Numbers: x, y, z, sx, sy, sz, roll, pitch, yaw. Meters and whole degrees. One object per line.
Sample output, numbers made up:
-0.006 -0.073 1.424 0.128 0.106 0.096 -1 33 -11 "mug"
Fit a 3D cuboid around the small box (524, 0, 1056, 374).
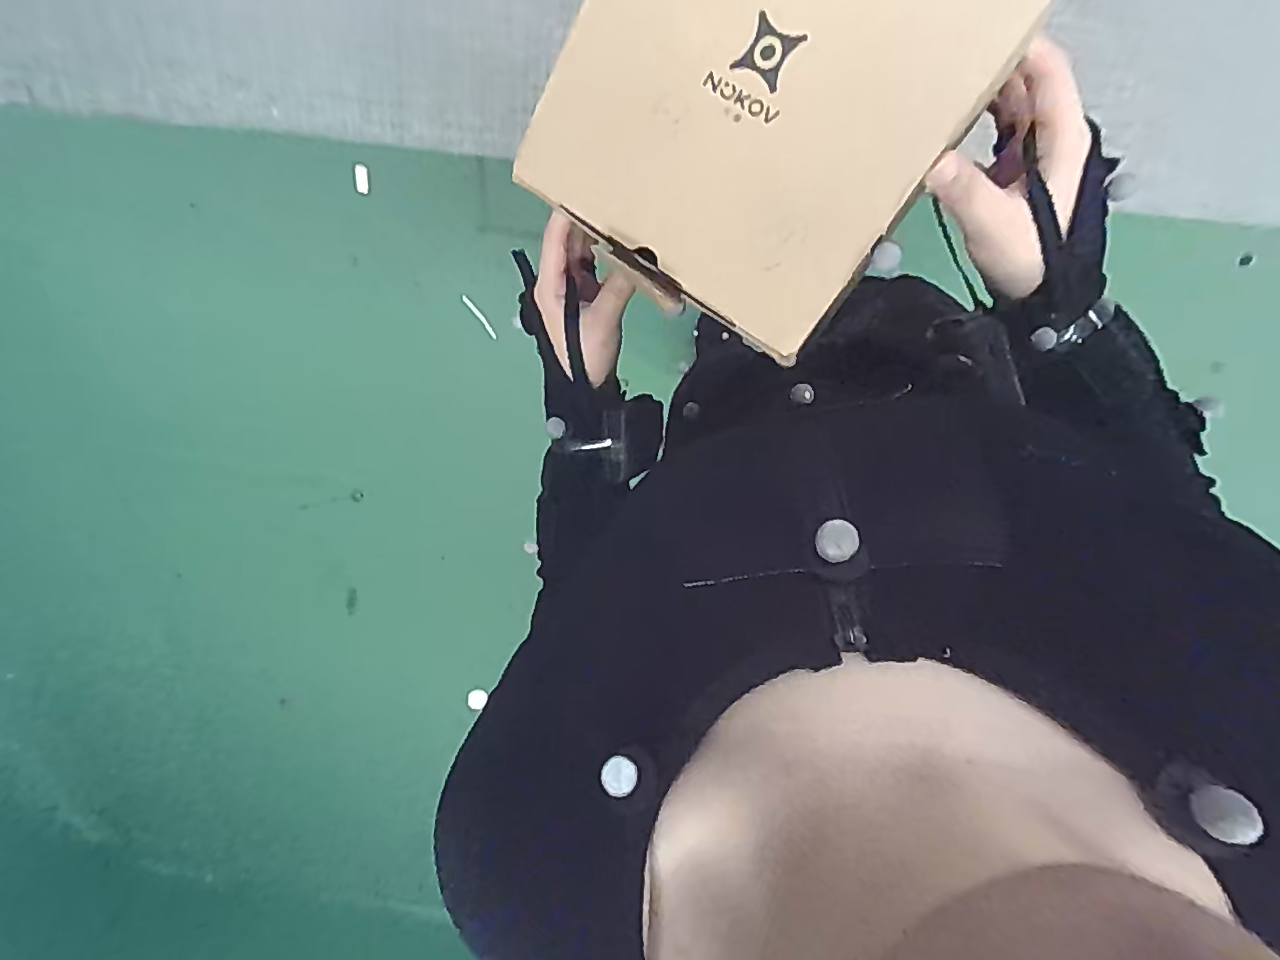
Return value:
0.073 -0.179 0.312 0.168 0.176 0.179 37 110 7 "small box"
